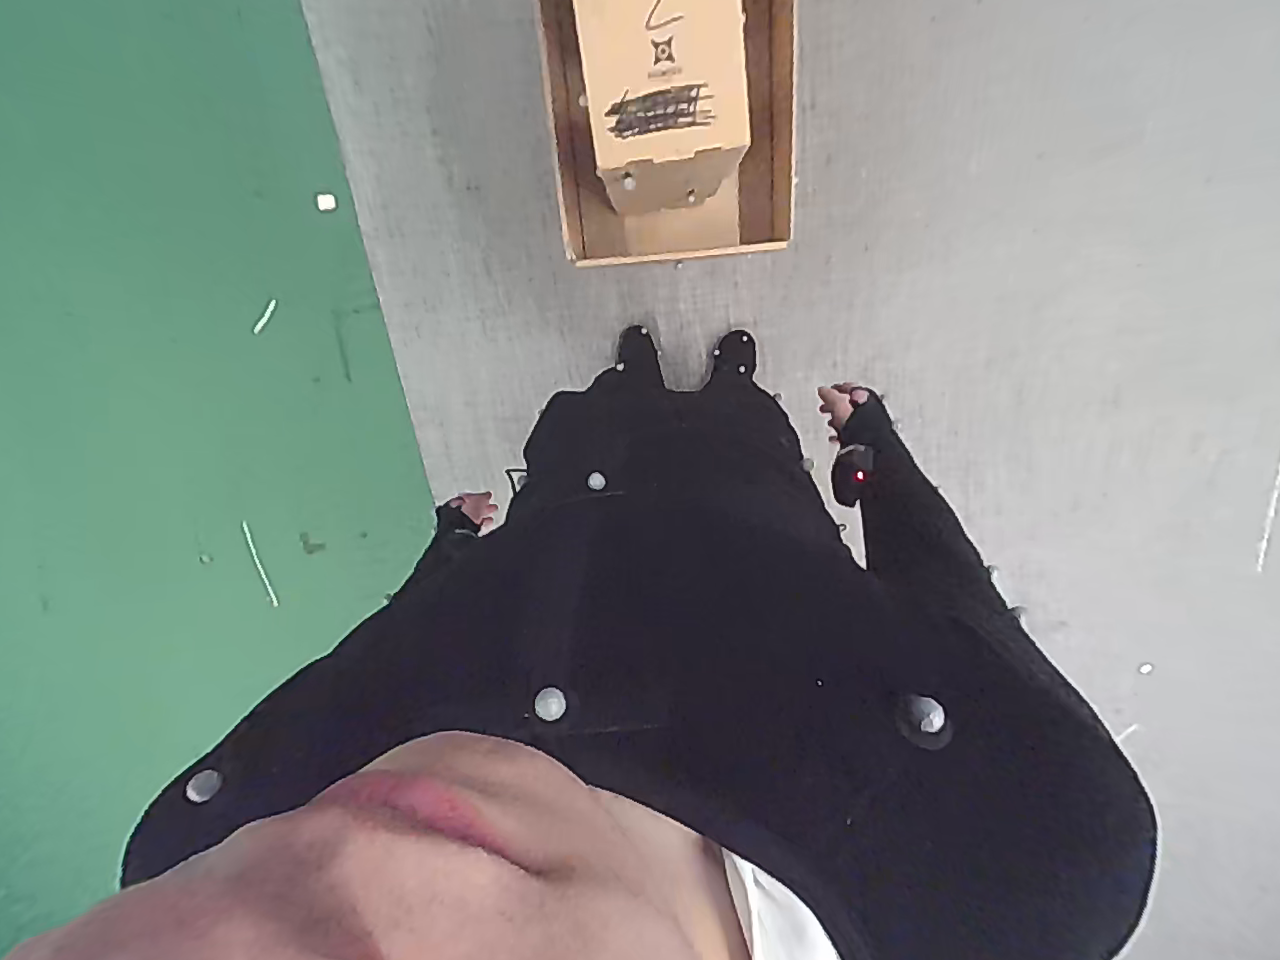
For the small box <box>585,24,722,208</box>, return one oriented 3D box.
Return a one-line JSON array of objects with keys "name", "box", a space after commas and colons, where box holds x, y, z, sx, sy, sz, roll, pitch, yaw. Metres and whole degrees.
[{"name": "small box", "box": [0.024, -0.503, 0.778, 0.168, 0.176, 0.179, -7, 108, 4]}]
